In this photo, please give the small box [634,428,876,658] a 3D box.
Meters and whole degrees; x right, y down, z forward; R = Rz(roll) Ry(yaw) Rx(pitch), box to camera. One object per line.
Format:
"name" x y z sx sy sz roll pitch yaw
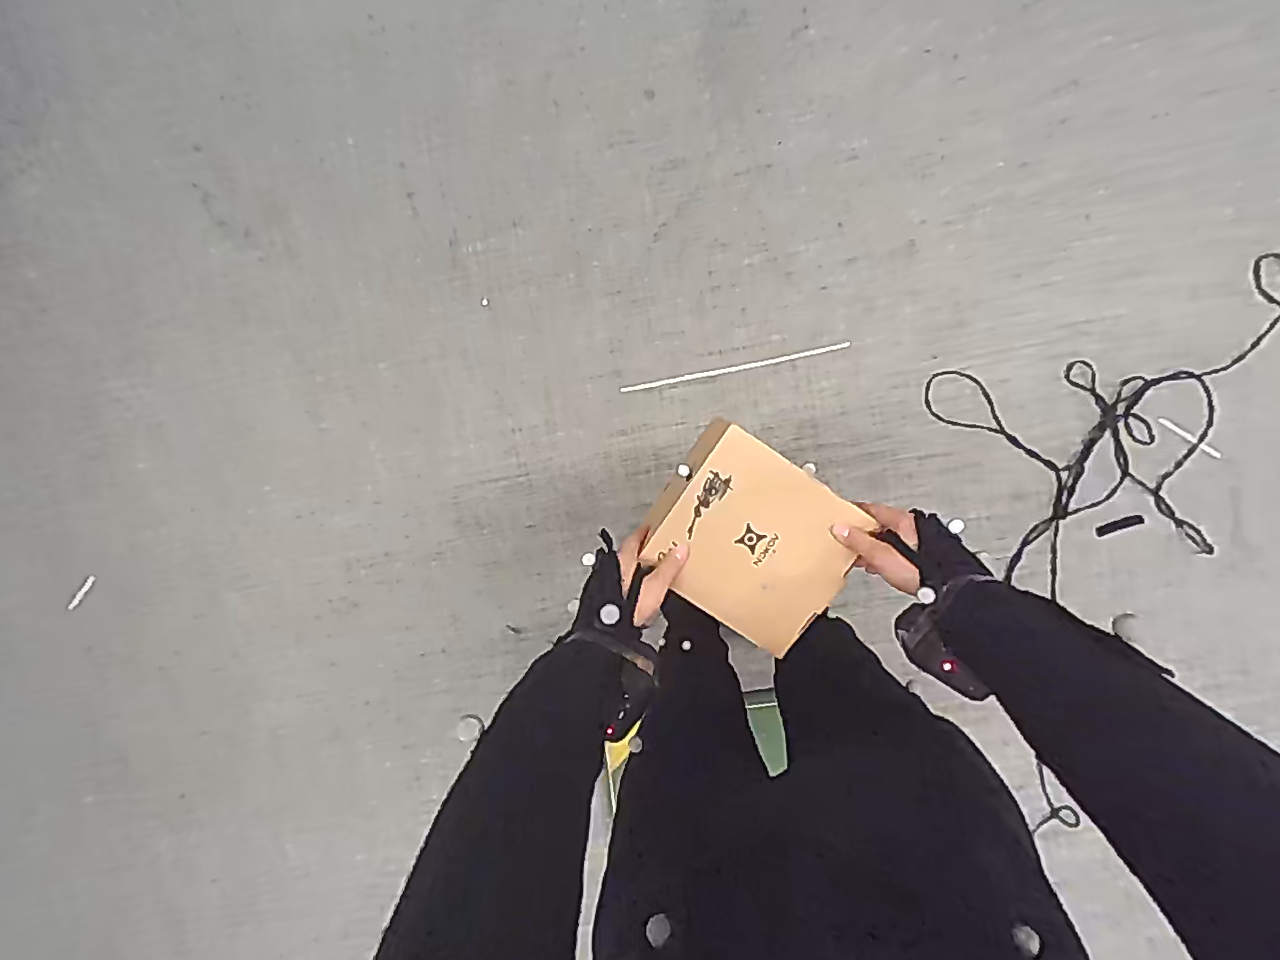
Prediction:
"small box" 0.112 0.053 0.596 0.179 0.176 0.168 34 97 -3
